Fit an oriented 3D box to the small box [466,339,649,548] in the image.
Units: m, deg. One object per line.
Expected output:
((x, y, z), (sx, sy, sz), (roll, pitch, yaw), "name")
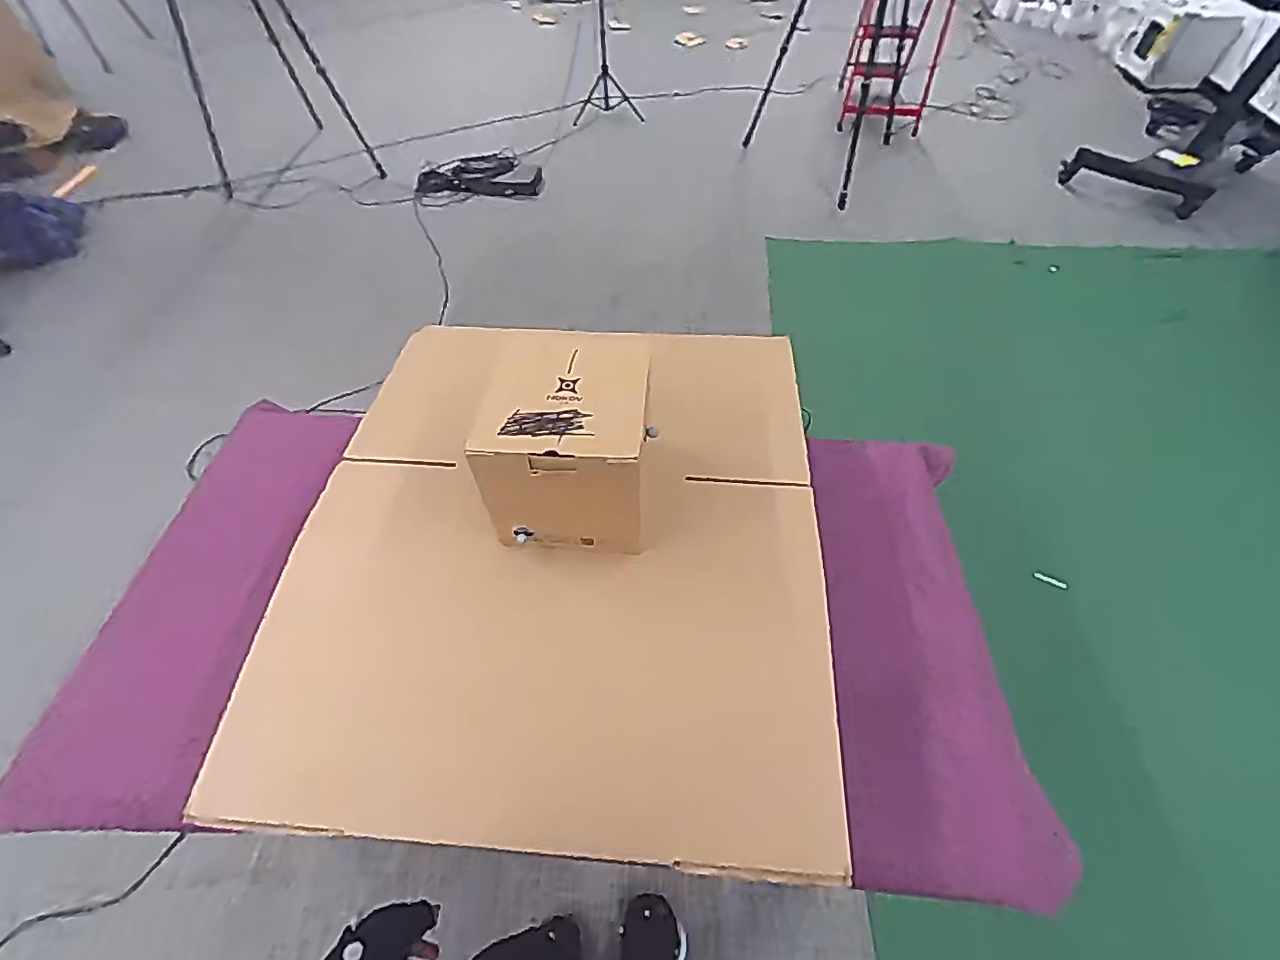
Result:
((-0.076, -0.037, 0.616), (0.168, 0.176, 0.179), (3, 51, 3), "small box")
